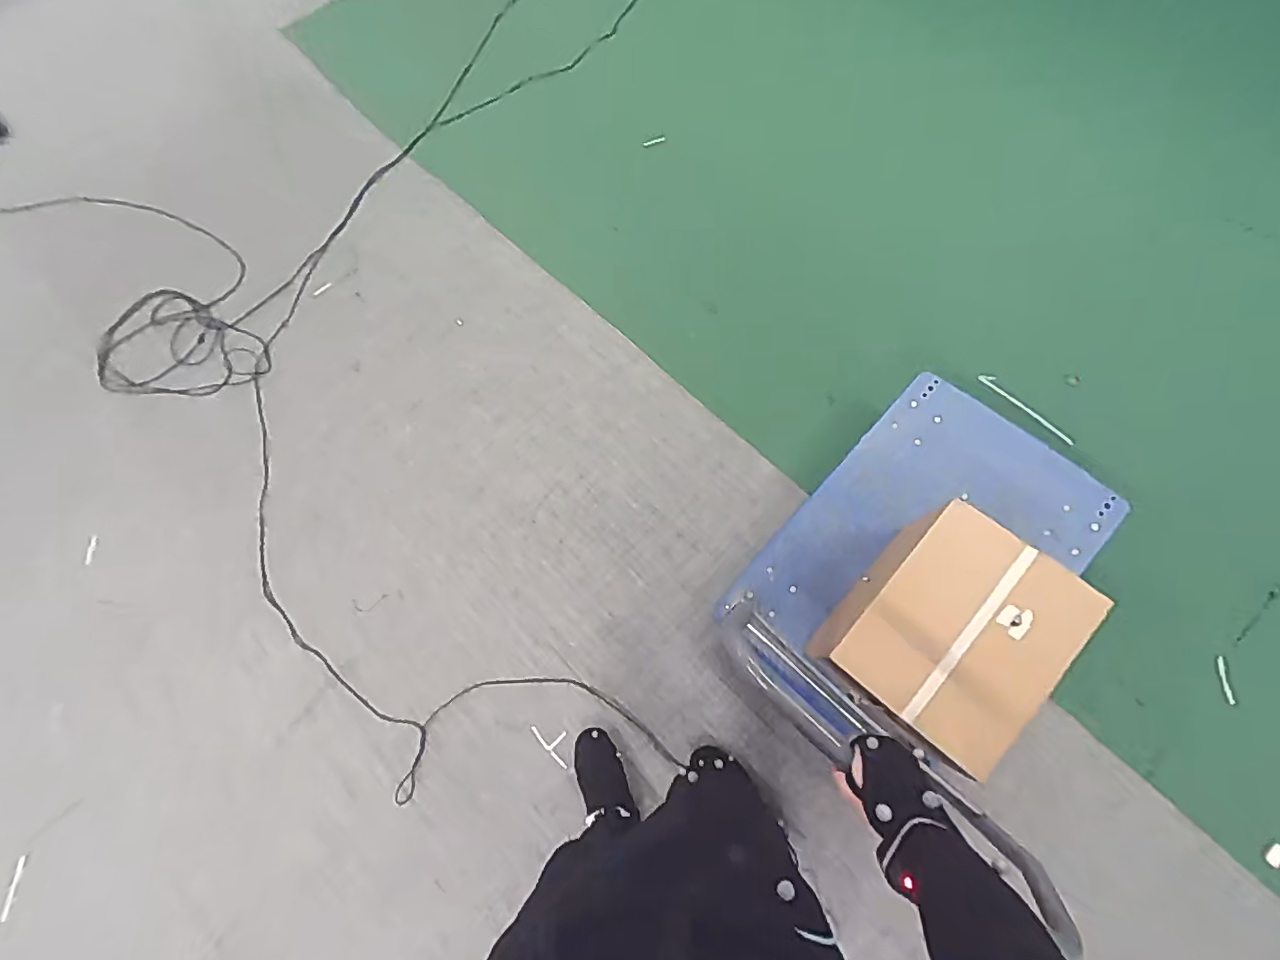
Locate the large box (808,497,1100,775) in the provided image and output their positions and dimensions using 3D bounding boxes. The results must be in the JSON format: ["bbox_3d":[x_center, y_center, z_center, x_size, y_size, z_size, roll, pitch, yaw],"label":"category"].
[{"bbox_3d":[0.613,0.313,1.133,0.320,0.320,0.408,39,82,15],"label":"large box"}]
